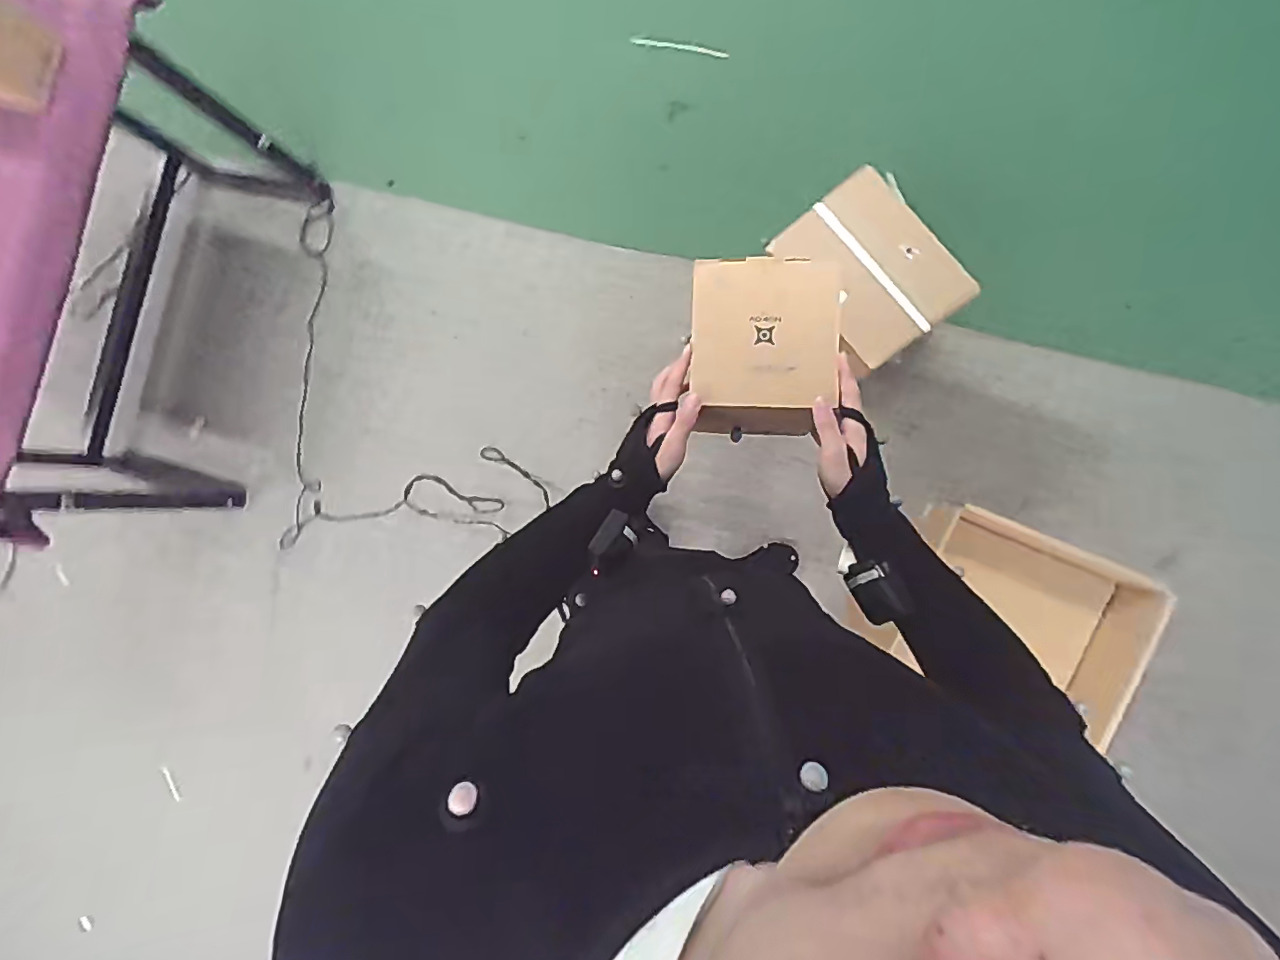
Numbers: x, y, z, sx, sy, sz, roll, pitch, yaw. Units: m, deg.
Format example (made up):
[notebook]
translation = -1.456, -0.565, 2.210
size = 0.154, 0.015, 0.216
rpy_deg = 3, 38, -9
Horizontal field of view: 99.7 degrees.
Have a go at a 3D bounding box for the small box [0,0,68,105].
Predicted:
[small box]
translation = -1.347, -0.907, 1.102
size = 0.179, 0.176, 0.168
rpy_deg = 19, 92, 12
